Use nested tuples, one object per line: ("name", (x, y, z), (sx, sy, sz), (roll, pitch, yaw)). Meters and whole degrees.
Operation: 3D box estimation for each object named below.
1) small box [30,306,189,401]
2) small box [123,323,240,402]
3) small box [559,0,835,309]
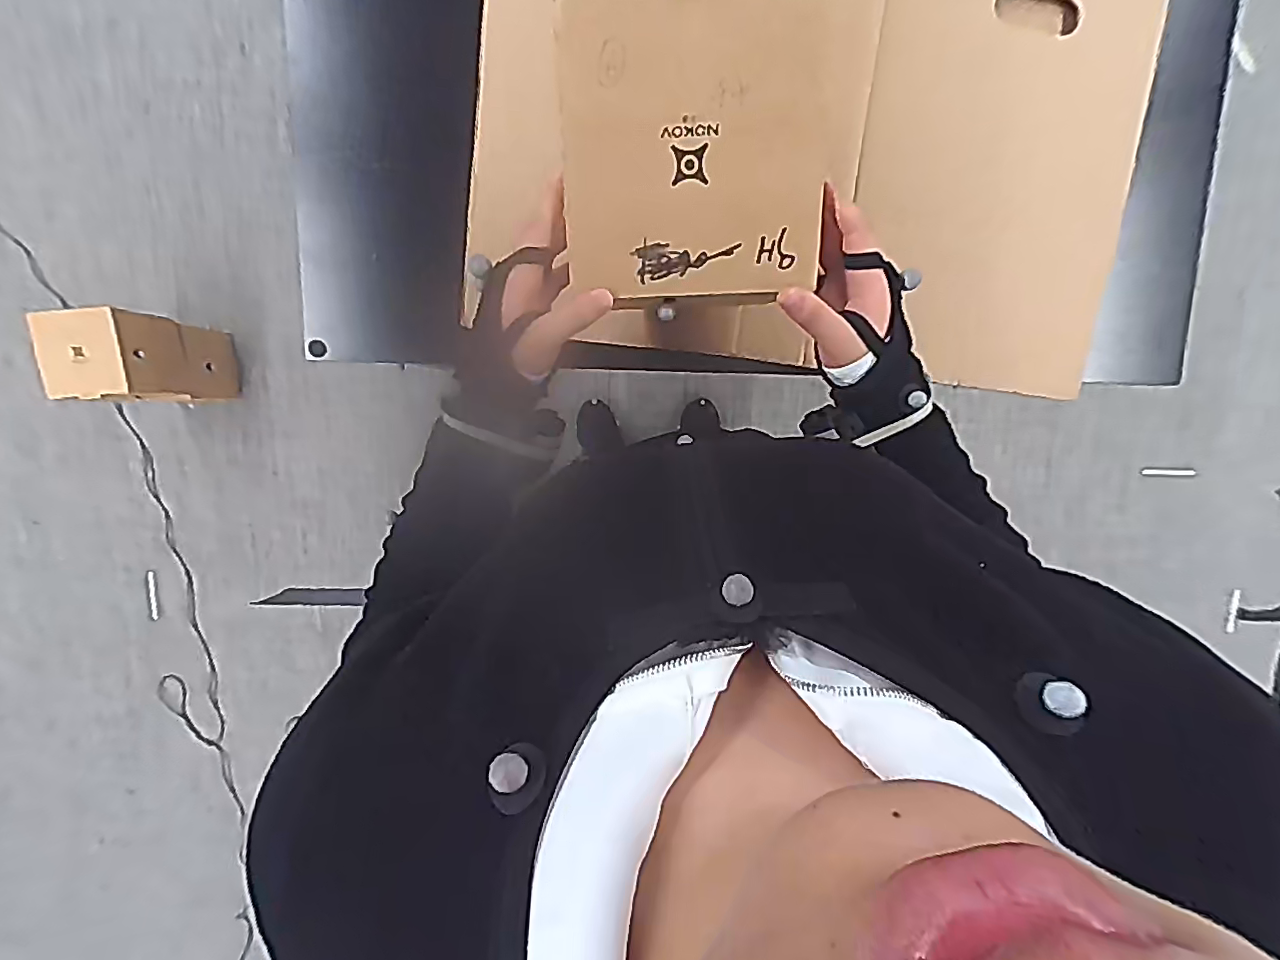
("small box", (-1.130, -0.267, 1.170), (0.168, 0.176, 0.179), (-6, 97, -2))
("small box", (-1.134, -0.285, 1.332), (0.168, 0.176, 0.179), (-3, 99, -1))
("small box", (0.038, -0.229, 0.413), (0.168, 0.176, 0.179), (-1, 105, 4))
